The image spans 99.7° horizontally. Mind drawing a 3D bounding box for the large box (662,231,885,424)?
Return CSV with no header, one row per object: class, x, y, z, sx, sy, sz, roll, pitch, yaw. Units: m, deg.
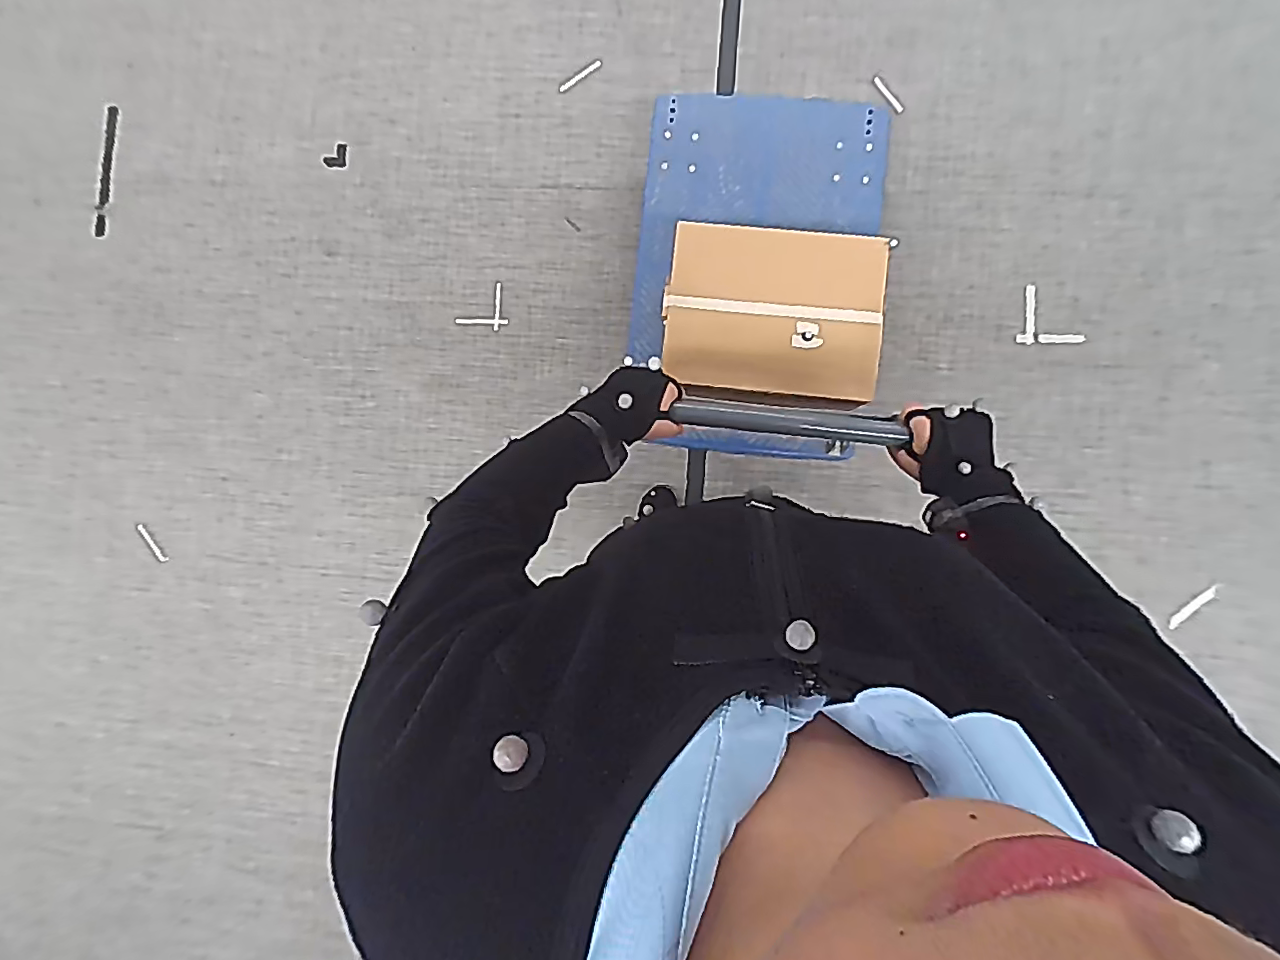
large box,0.259,-0.307,1.177,0.408,0.320,0.320,6,90,3
